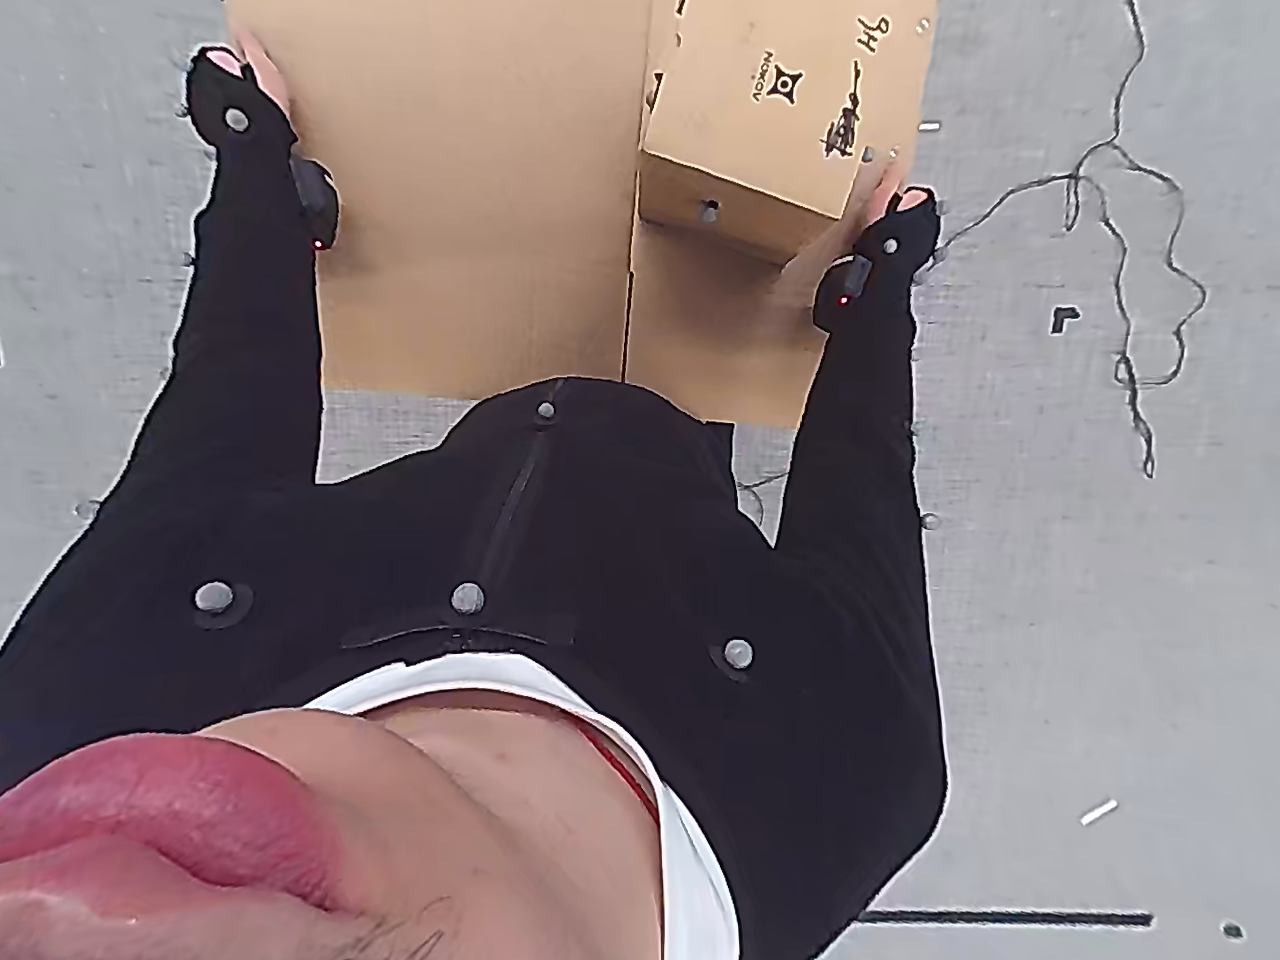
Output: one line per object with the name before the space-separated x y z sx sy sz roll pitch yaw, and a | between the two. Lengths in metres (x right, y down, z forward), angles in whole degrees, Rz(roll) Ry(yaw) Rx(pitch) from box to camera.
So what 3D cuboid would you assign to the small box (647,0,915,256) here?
small box | 0.112 -0.333 0.513 0.179 0.176 0.168 17 99 -2
